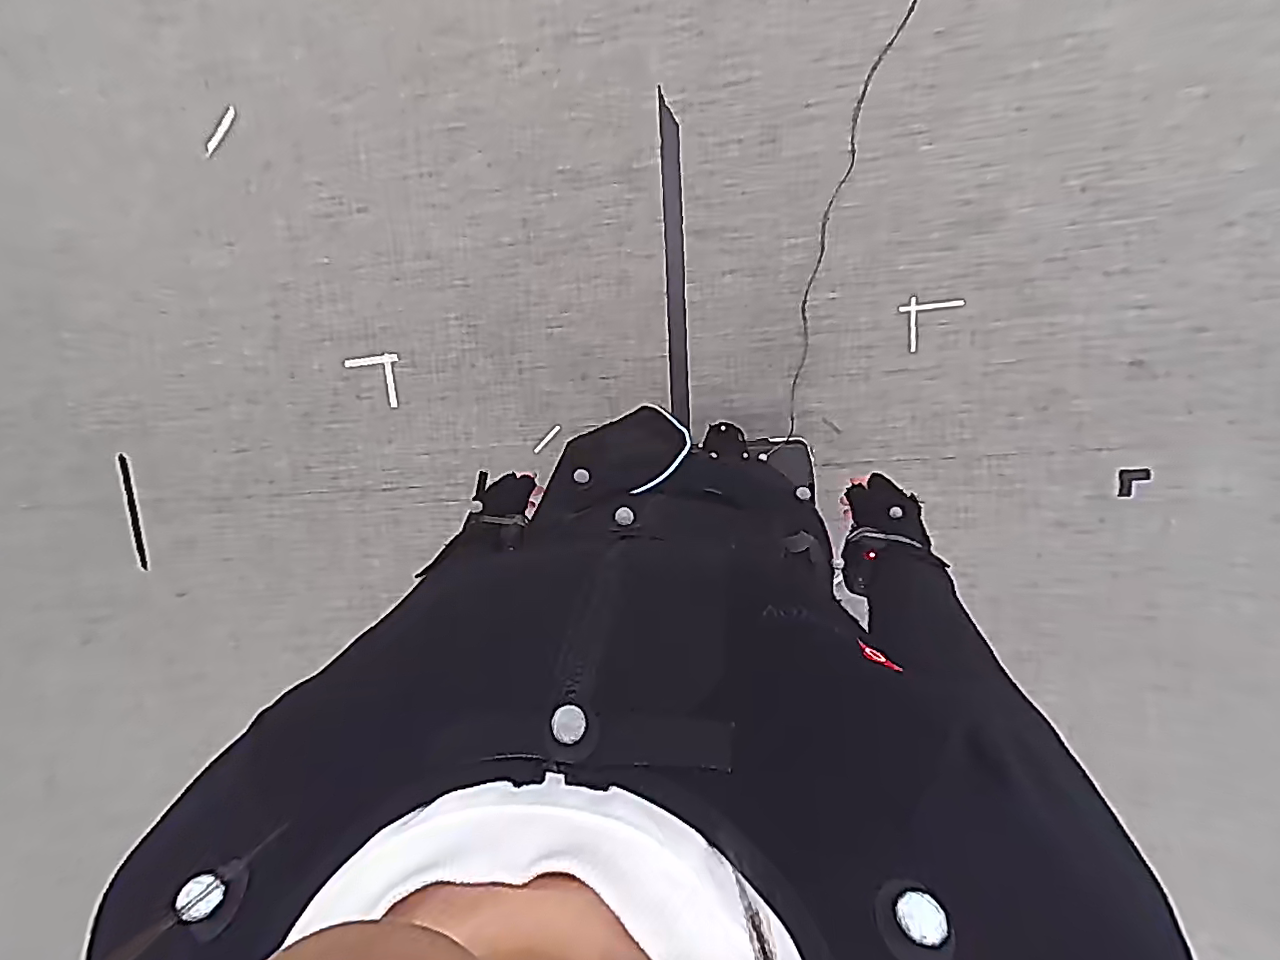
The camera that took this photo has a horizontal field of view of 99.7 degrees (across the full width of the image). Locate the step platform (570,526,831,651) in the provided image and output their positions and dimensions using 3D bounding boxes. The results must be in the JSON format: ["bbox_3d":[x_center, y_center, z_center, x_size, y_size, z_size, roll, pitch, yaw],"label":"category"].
[{"bbox_3d":[0.155,0.297,1.461,0.684,0.204,0.286,-3,97,10],"label":"step platform"}]
